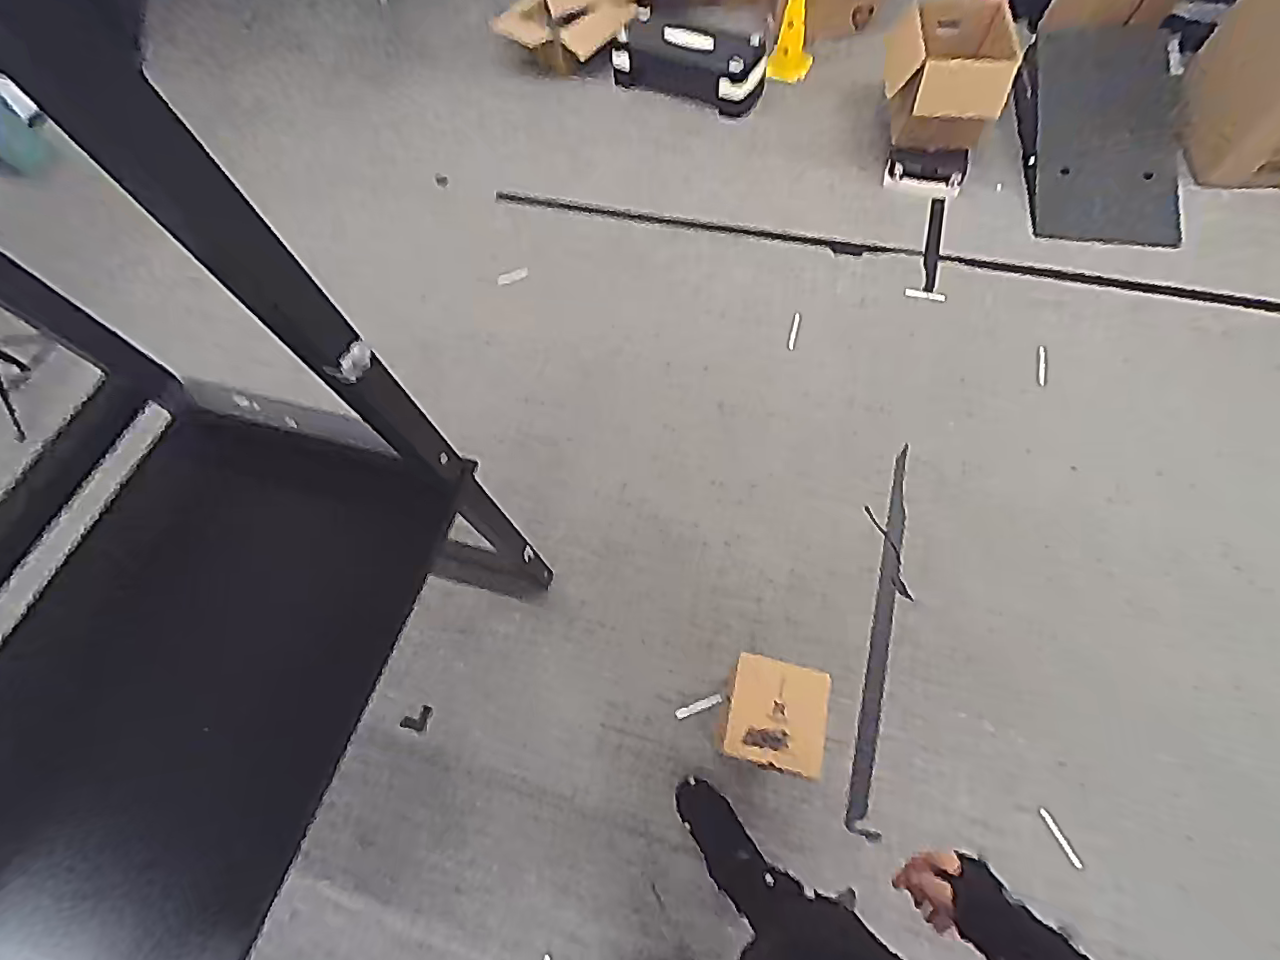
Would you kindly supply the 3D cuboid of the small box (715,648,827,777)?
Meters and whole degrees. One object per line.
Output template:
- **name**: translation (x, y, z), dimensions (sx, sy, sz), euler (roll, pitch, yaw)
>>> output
- **small box**: translation (0.240, 0.435, 1.018), dimensions (0.168, 0.176, 0.179), euler (13, 66, 9)
